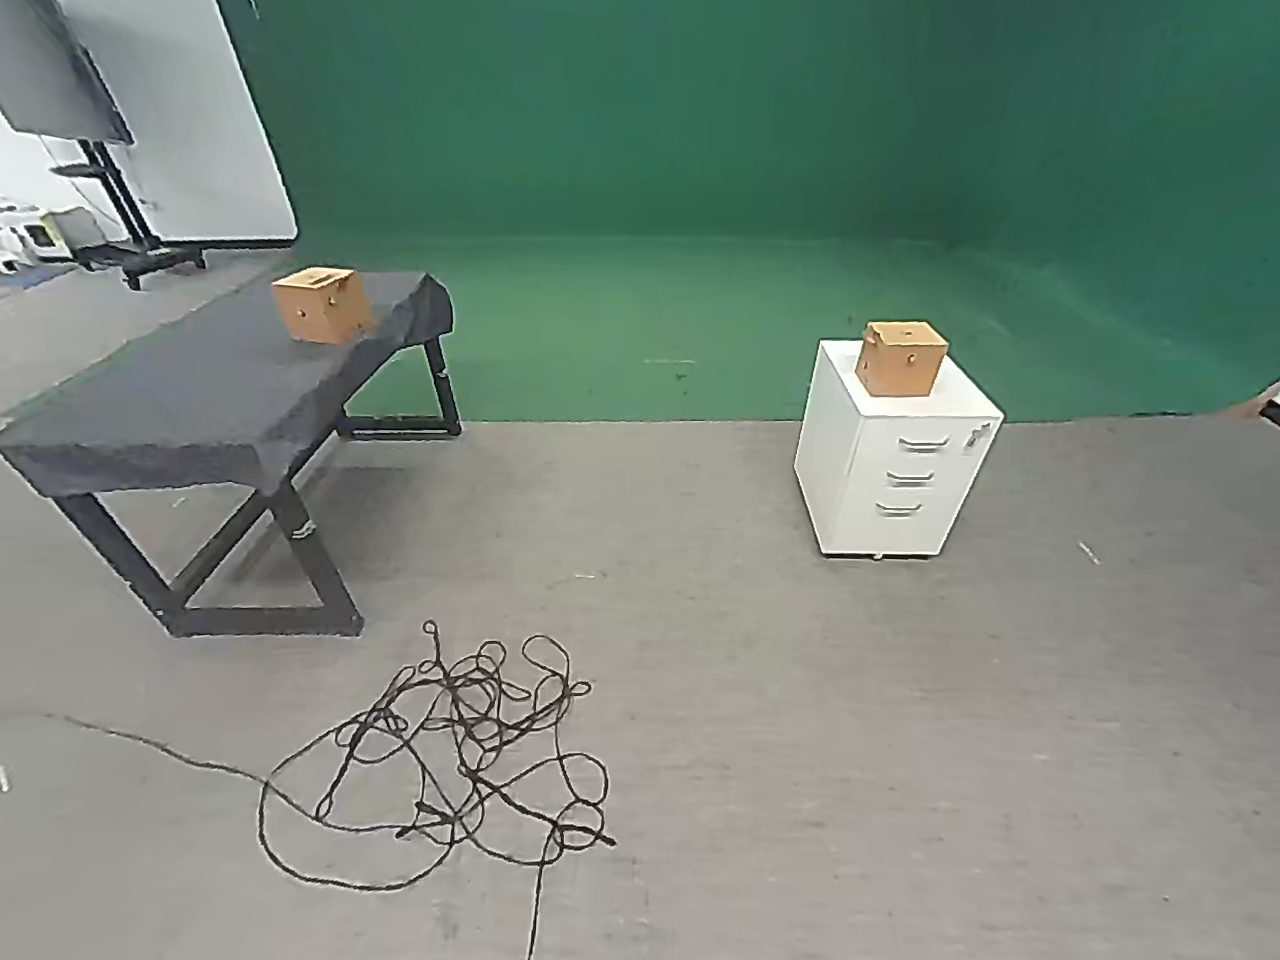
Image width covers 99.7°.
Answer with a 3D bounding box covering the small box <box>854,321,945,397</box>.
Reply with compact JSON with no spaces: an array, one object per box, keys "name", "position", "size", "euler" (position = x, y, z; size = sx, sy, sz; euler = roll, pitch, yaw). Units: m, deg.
[{"name":"small box","position":[0.762,-0.358,1.608],"size":[0.179,0.176,0.168],"euler":[0,39,0]}]
